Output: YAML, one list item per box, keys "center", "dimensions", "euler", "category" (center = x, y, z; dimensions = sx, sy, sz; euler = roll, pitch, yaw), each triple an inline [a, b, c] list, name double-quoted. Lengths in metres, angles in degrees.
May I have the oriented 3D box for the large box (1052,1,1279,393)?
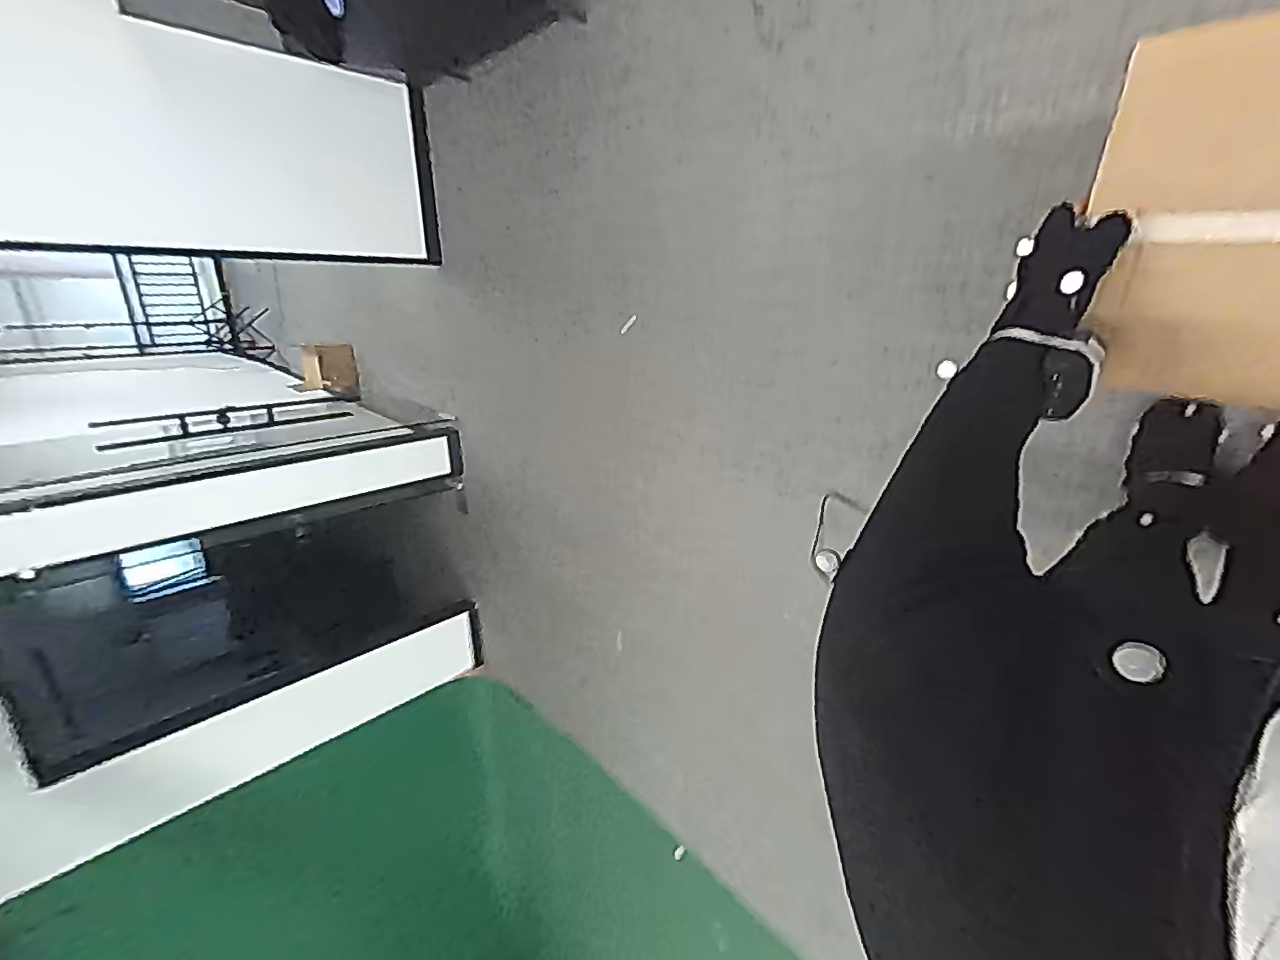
- center: [0.701, -0.257, 0.520]
  dimensions: [0.408, 0.320, 0.320]
  euler: [20, 120, 40]
  category: "large box"
